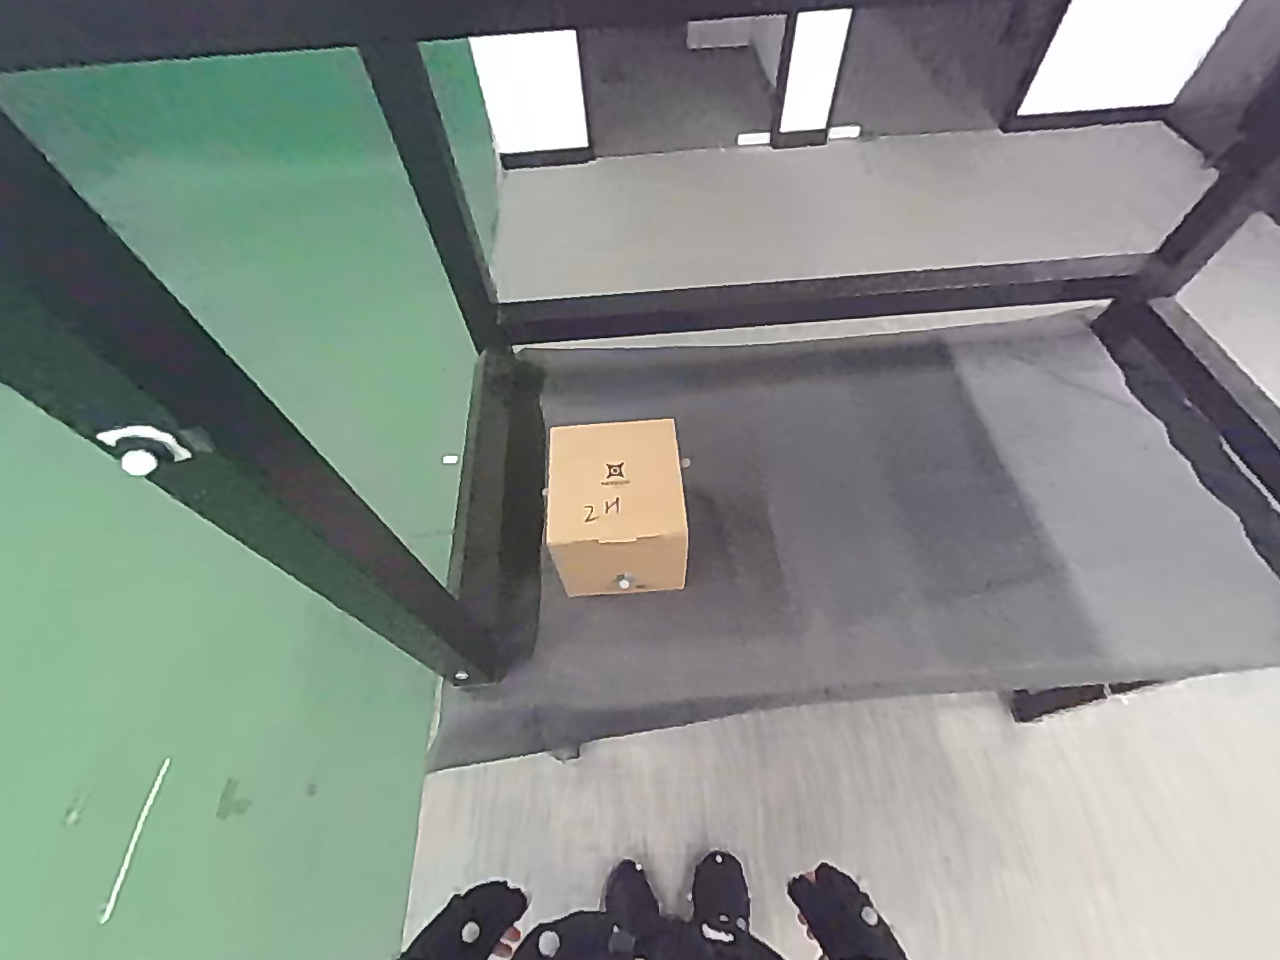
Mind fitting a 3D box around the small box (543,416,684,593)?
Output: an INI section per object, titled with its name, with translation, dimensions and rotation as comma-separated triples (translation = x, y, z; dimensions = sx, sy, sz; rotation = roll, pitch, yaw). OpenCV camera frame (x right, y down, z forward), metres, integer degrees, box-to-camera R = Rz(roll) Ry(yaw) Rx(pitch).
[small box]
translation = -0.033, 0.037, 0.735
dimensions = 0.168, 0.176, 0.179
rotation = -5, 56, 0
